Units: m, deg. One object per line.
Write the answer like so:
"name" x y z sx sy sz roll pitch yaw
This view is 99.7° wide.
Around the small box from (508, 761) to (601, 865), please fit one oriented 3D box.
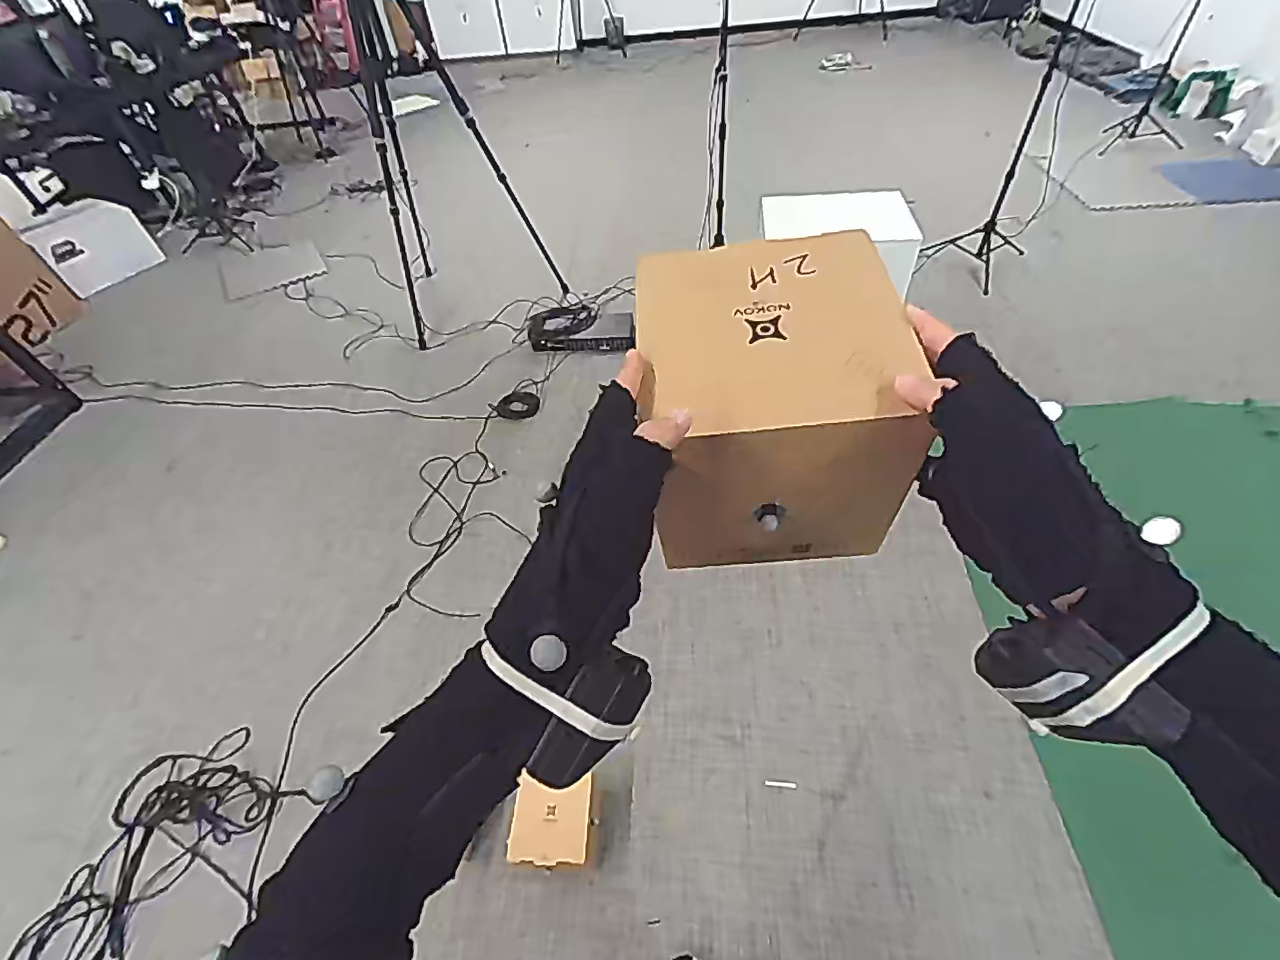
"small box" -0.184 0.753 1.223 0.168 0.176 0.179 -2 49 5
